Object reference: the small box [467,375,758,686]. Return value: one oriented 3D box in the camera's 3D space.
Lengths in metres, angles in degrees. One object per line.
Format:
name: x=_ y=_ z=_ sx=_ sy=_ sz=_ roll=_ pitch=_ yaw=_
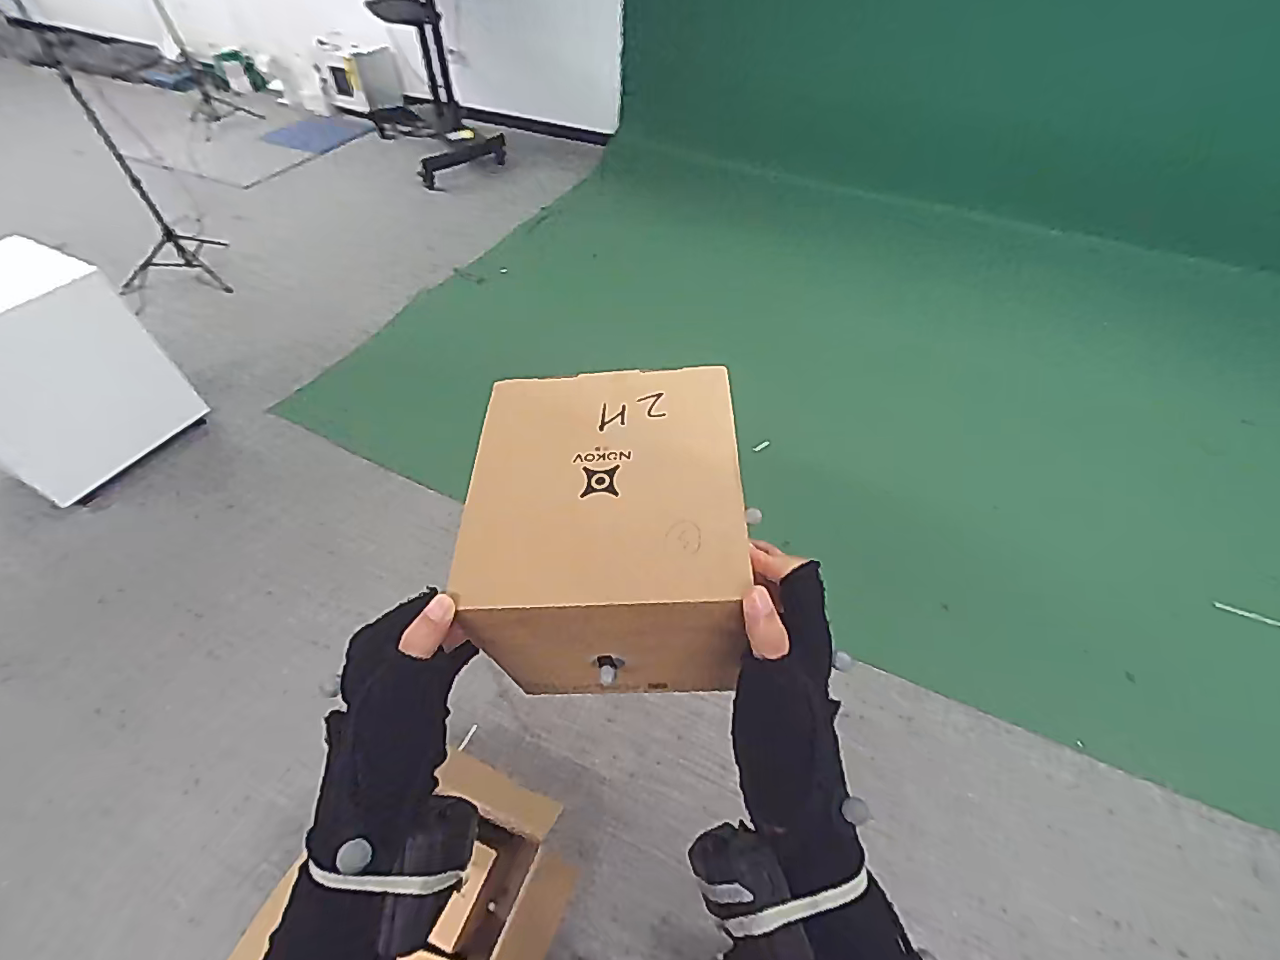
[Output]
small box: x=-0.007 y=0.047 z=0.404 sx=0.168 sy=0.176 sz=0.179 roll=-3 pitch=53 yaw=4
